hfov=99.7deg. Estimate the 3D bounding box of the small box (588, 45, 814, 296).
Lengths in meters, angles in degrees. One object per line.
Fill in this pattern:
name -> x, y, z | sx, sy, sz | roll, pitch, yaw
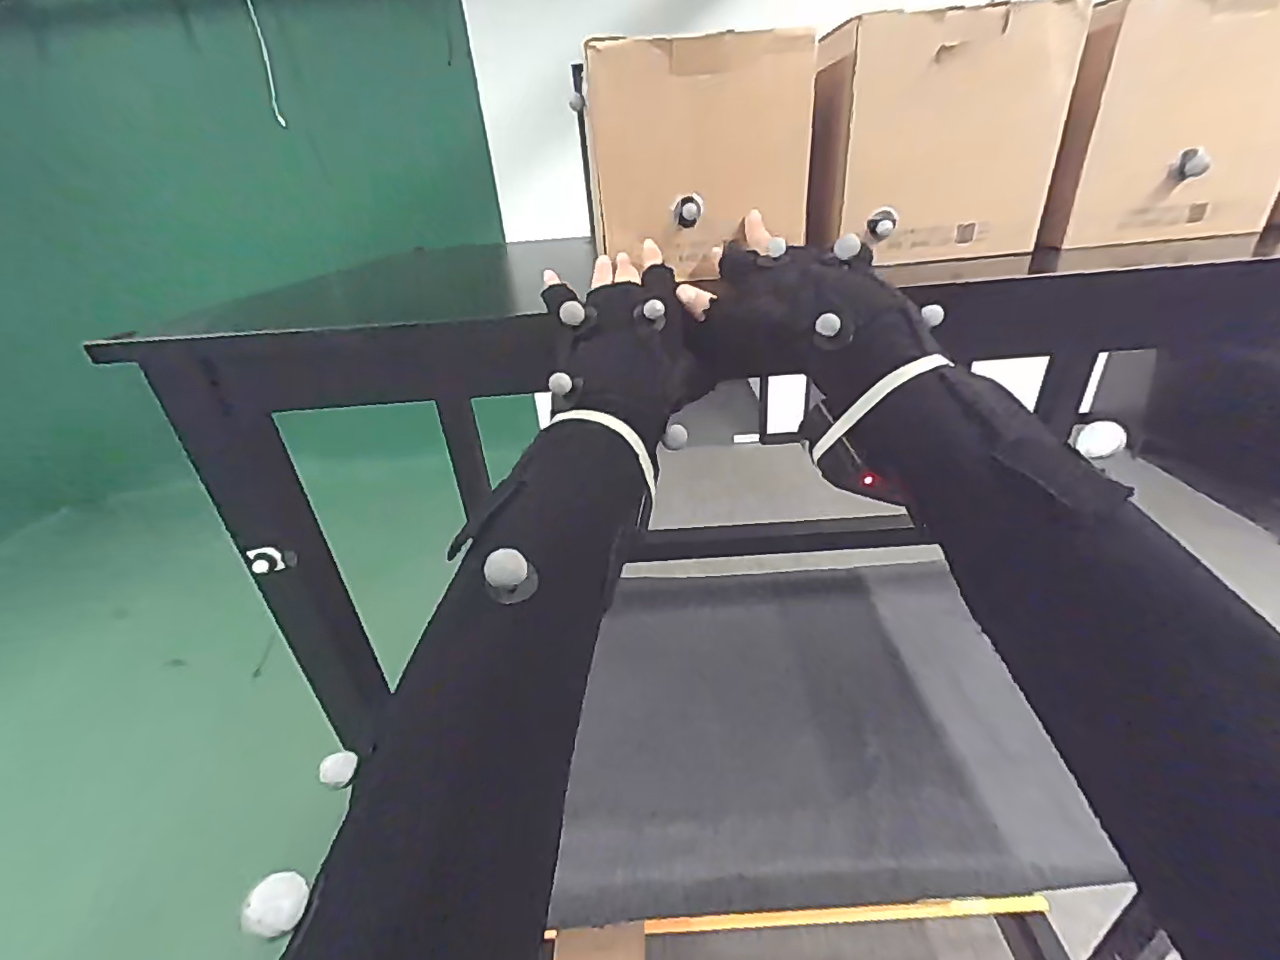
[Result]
small box -> 0.042, -0.271, 0.494 | 0.168, 0.176, 0.179 | -6, 30, -3
